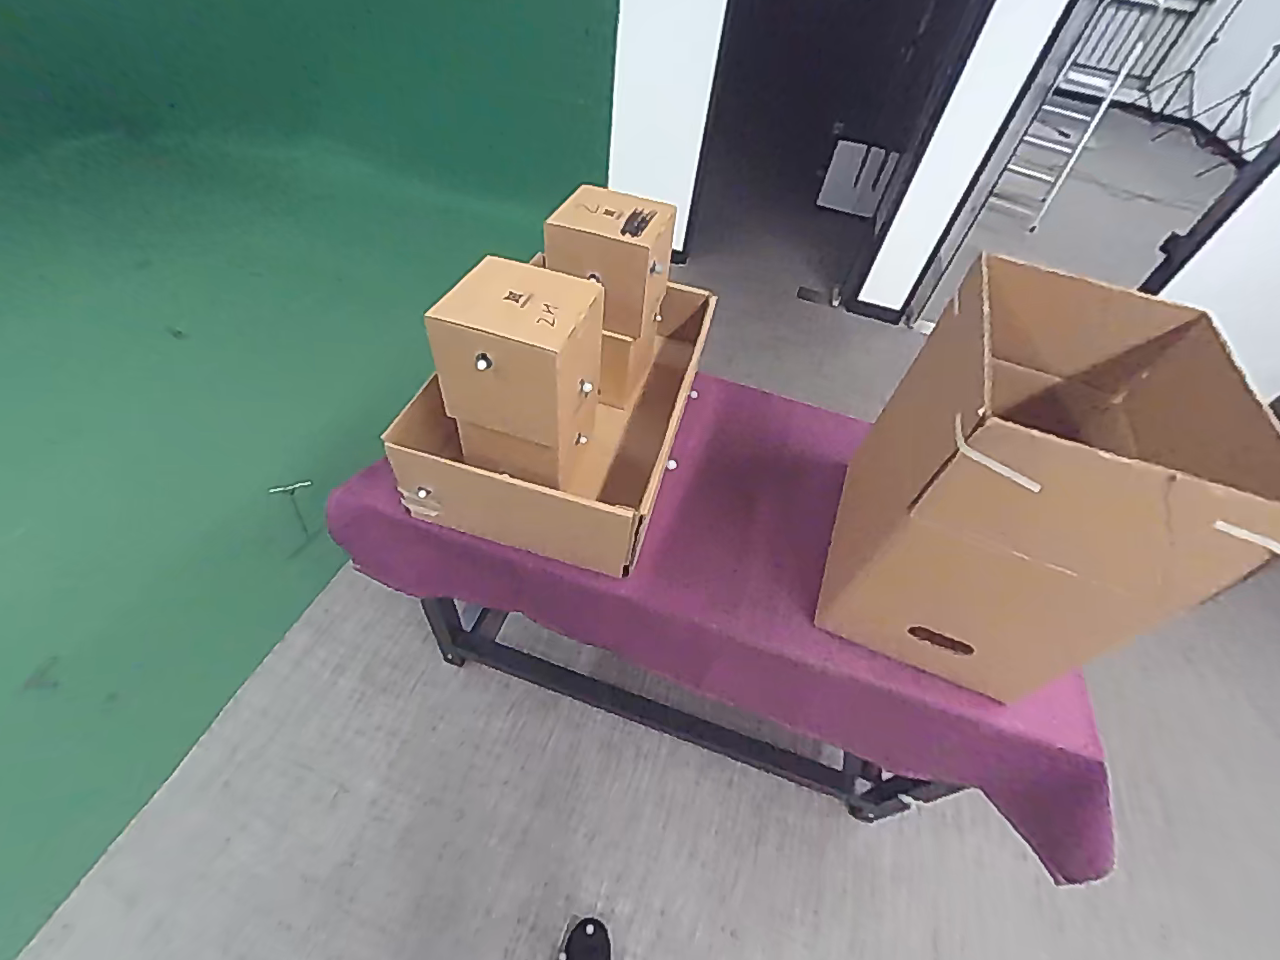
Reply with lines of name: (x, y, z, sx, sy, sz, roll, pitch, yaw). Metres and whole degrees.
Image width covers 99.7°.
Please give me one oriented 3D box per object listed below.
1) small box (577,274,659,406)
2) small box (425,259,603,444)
small box: (-0.072, -0.272, 1.066, 0.168, 0.176, 0.179, 18, 50, 8)
small box: (-0.164, -0.175, 0.753, 0.179, 0.176, 0.168, 18, 51, 7)
